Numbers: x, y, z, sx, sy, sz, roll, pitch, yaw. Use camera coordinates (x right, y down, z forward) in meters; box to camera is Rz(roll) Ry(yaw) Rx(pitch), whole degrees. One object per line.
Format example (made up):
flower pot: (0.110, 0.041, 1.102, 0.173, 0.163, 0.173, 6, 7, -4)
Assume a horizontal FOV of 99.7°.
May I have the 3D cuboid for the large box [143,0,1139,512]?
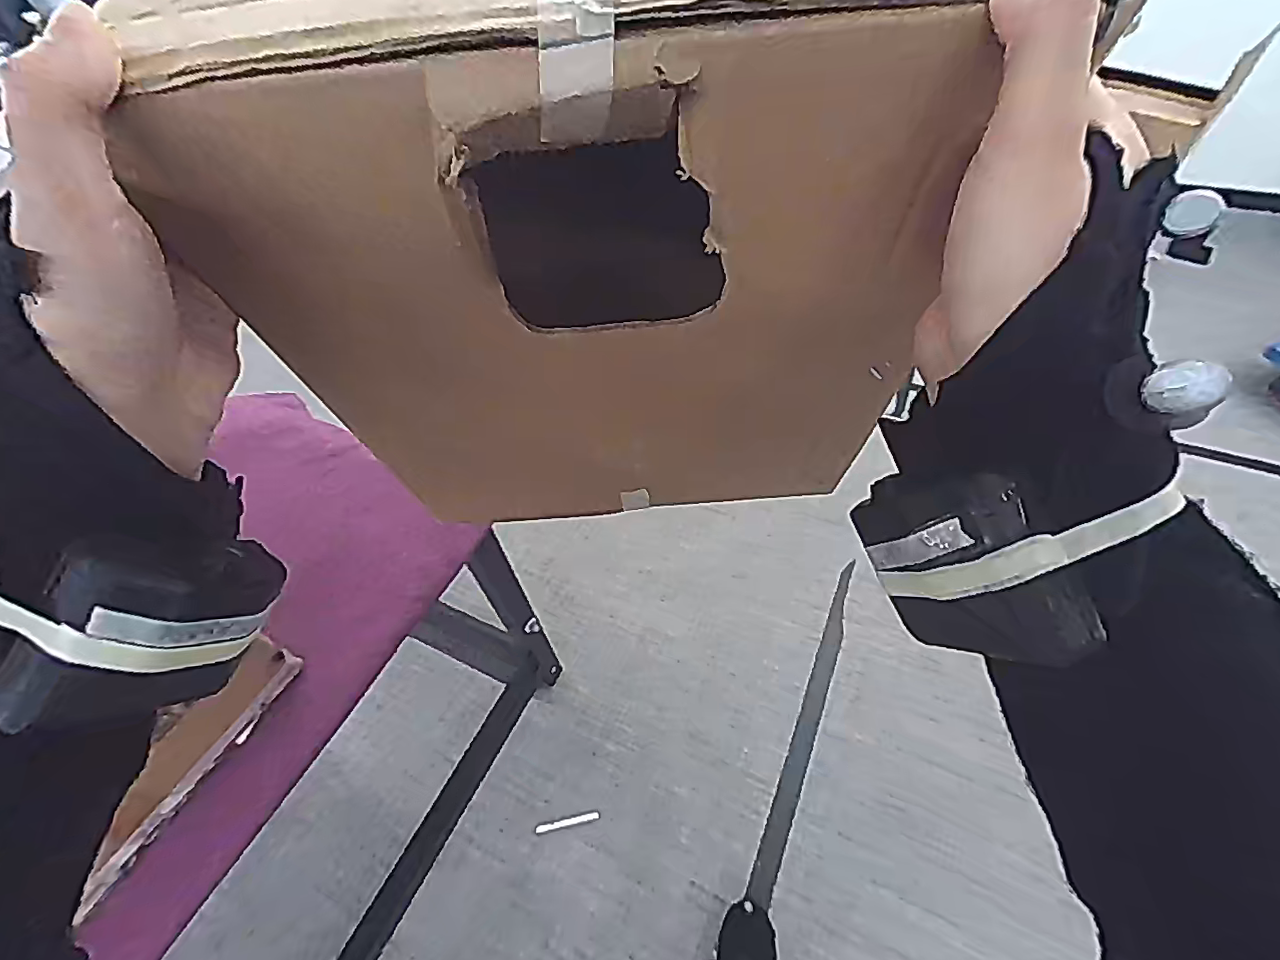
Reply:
large box: (-0.012, -0.229, 0.384, 0.320, 0.320, 0.408, -6, 63, 1)
